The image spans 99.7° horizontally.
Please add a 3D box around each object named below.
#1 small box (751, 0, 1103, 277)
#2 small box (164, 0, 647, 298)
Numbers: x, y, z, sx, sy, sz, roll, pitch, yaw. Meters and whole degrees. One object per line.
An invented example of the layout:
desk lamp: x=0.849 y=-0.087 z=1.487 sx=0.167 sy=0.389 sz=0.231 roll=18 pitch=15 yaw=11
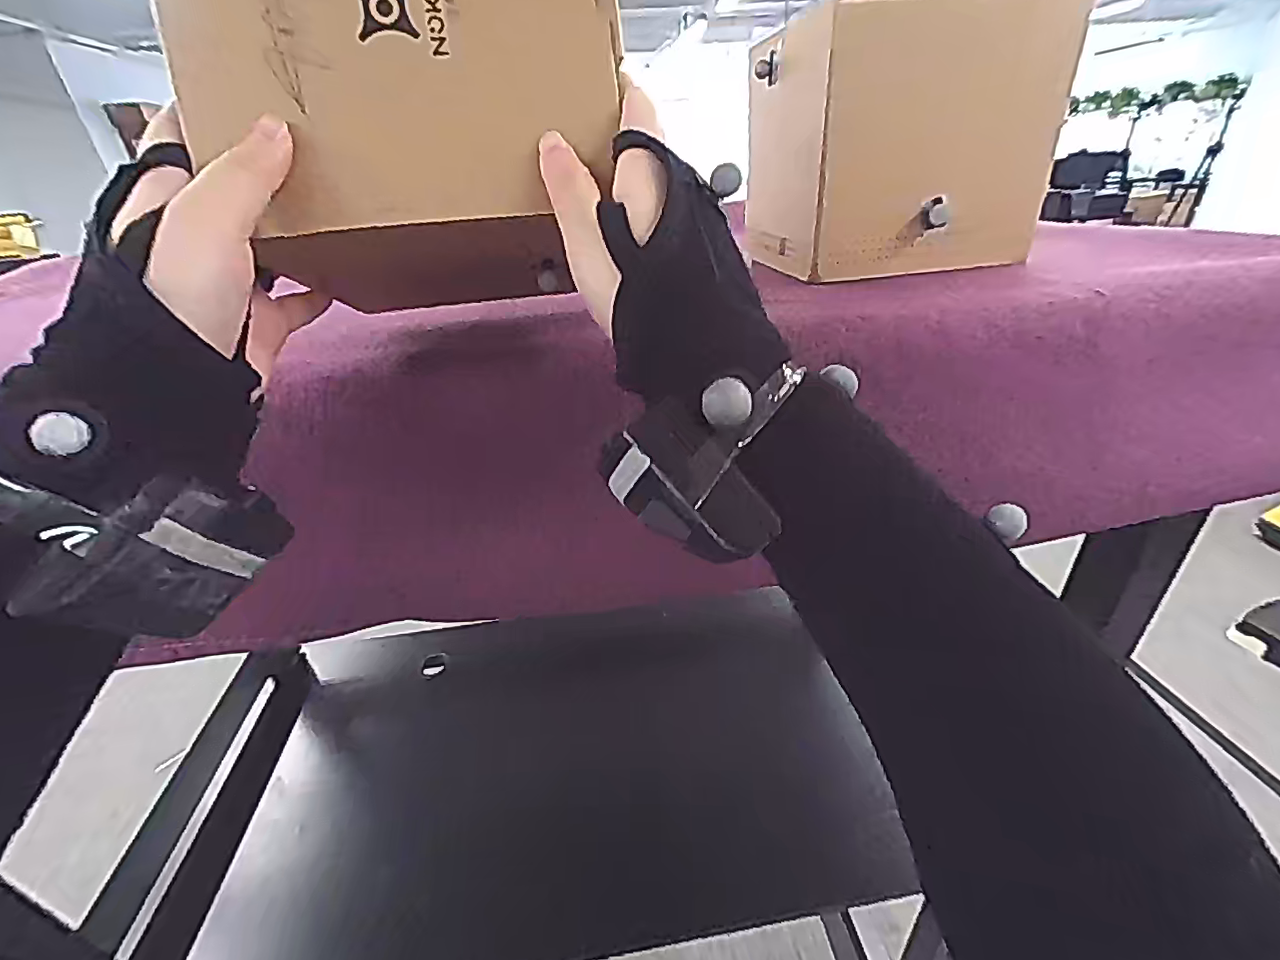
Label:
small box: x=0.198 y=-0.268 z=0.434 sx=0.179 sy=0.176 sz=0.168 roll=-7 pitch=29 yaw=-5
small box: x=-0.101 y=-0.200 z=0.287 sx=0.179 sy=0.168 sz=0.176 roll=-8 pitch=9 yaw=-6
